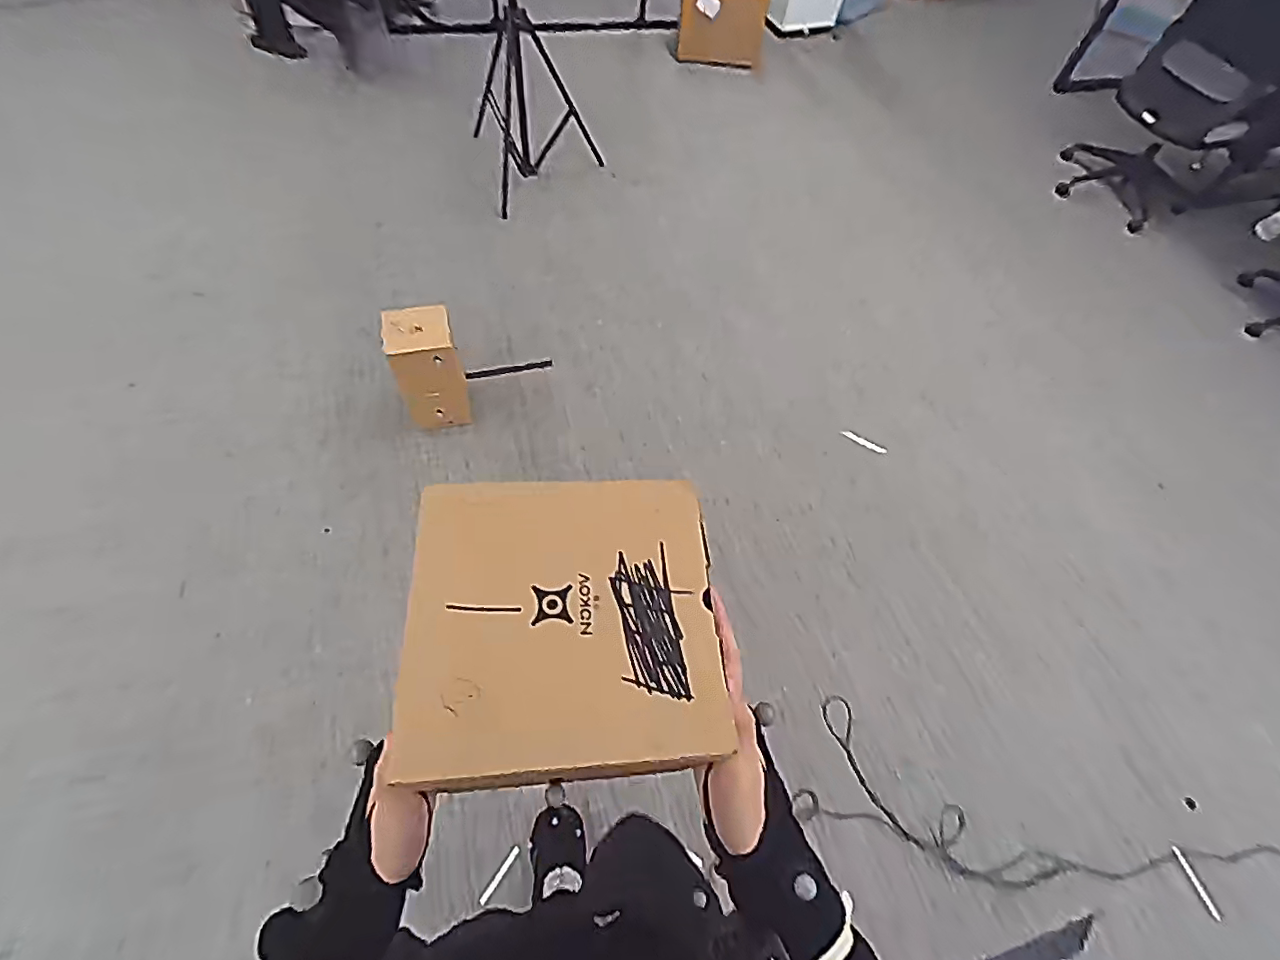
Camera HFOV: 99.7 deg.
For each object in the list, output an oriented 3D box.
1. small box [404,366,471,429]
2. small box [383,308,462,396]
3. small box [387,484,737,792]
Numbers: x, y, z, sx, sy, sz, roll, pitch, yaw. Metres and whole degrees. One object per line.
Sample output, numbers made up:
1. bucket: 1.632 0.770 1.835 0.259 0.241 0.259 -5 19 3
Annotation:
1. small box: -0.628 -0.275 1.677 0.168 0.176 0.179 -11 62 -12
2. small box: -0.612 -0.361 1.535 0.179 0.176 0.168 -11 61 -12
3. small box: -0.050 0.115 0.375 0.179 0.176 0.168 -1 59 -8
